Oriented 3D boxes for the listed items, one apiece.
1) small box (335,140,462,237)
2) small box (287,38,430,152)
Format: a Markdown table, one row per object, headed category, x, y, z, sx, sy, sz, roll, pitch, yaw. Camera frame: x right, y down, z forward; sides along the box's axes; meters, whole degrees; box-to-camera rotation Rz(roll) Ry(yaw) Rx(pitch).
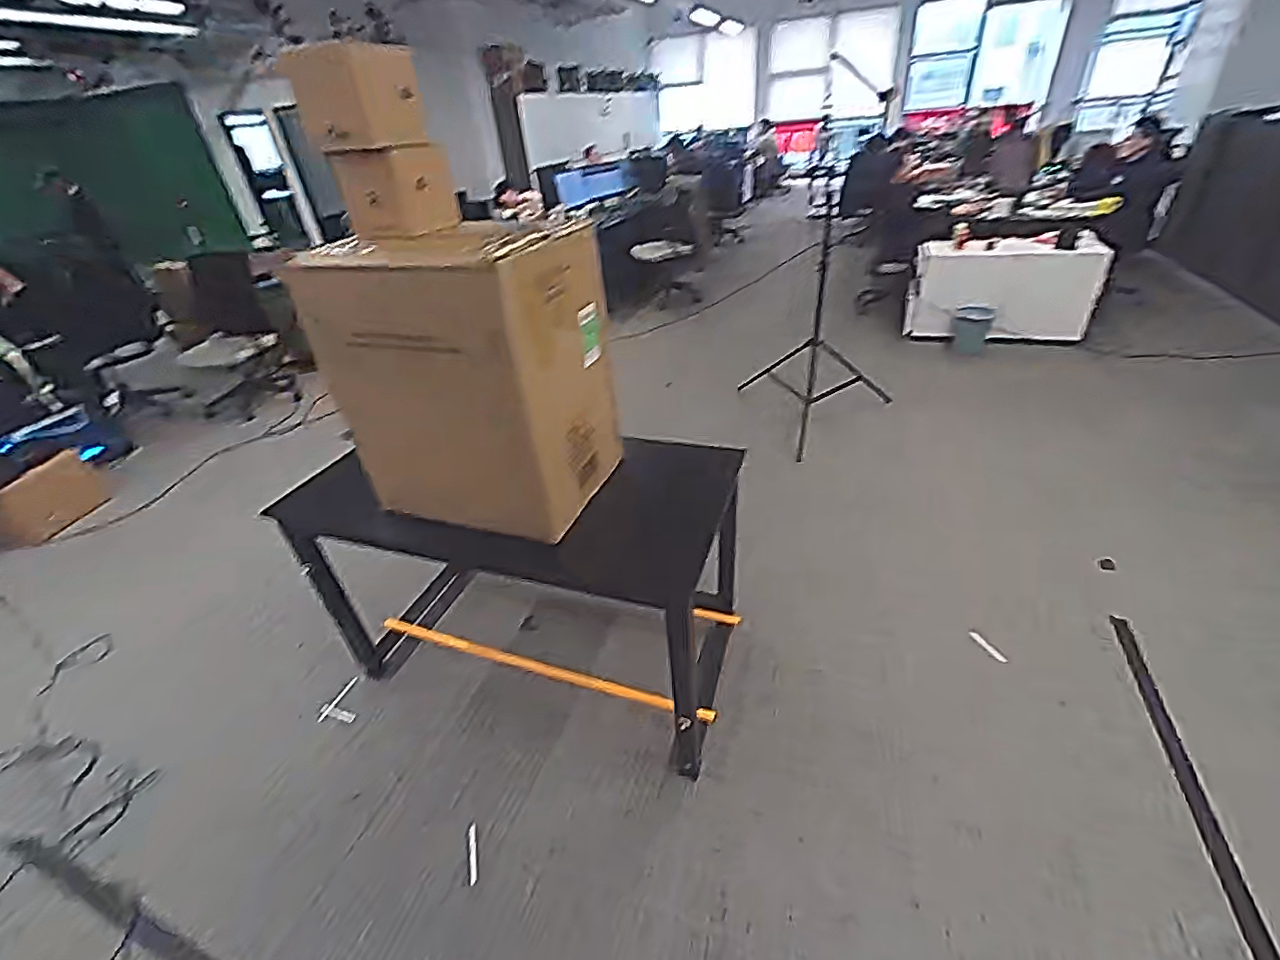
| category | x | y | z | sx | sy | sz | roll | pitch | yaw |
| --- | --- | --- | --- | --- | --- | --- | --- | --- | --- |
| small box | -0.521 | -0.645 | 1.199 | 0.168 | 0.176 | 0.179 | 9 | 36 | 19 |
| small box | -0.547 | -0.763 | 1.084 | 0.168 | 0.176 | 0.179 | 6 | 36 | 17 |
